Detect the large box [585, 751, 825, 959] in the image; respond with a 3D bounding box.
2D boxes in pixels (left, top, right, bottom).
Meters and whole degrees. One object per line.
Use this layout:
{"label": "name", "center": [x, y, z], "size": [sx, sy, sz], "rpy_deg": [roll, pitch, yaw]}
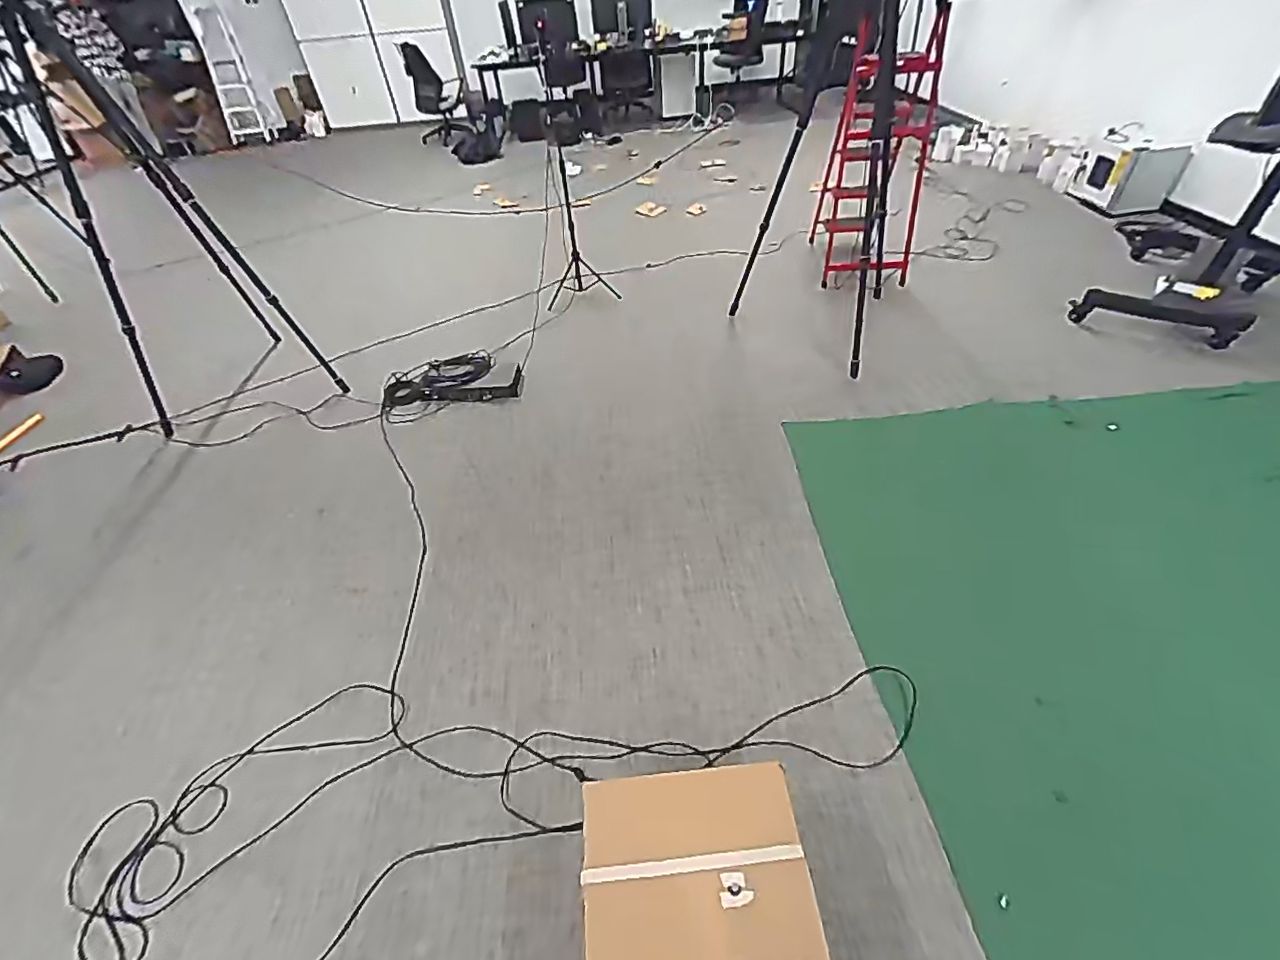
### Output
{"label": "large box", "center": [0.108, 0.790, 1.100], "size": [0.408, 0.320, 0.320], "rpy_deg": [-6, 46, -1]}
